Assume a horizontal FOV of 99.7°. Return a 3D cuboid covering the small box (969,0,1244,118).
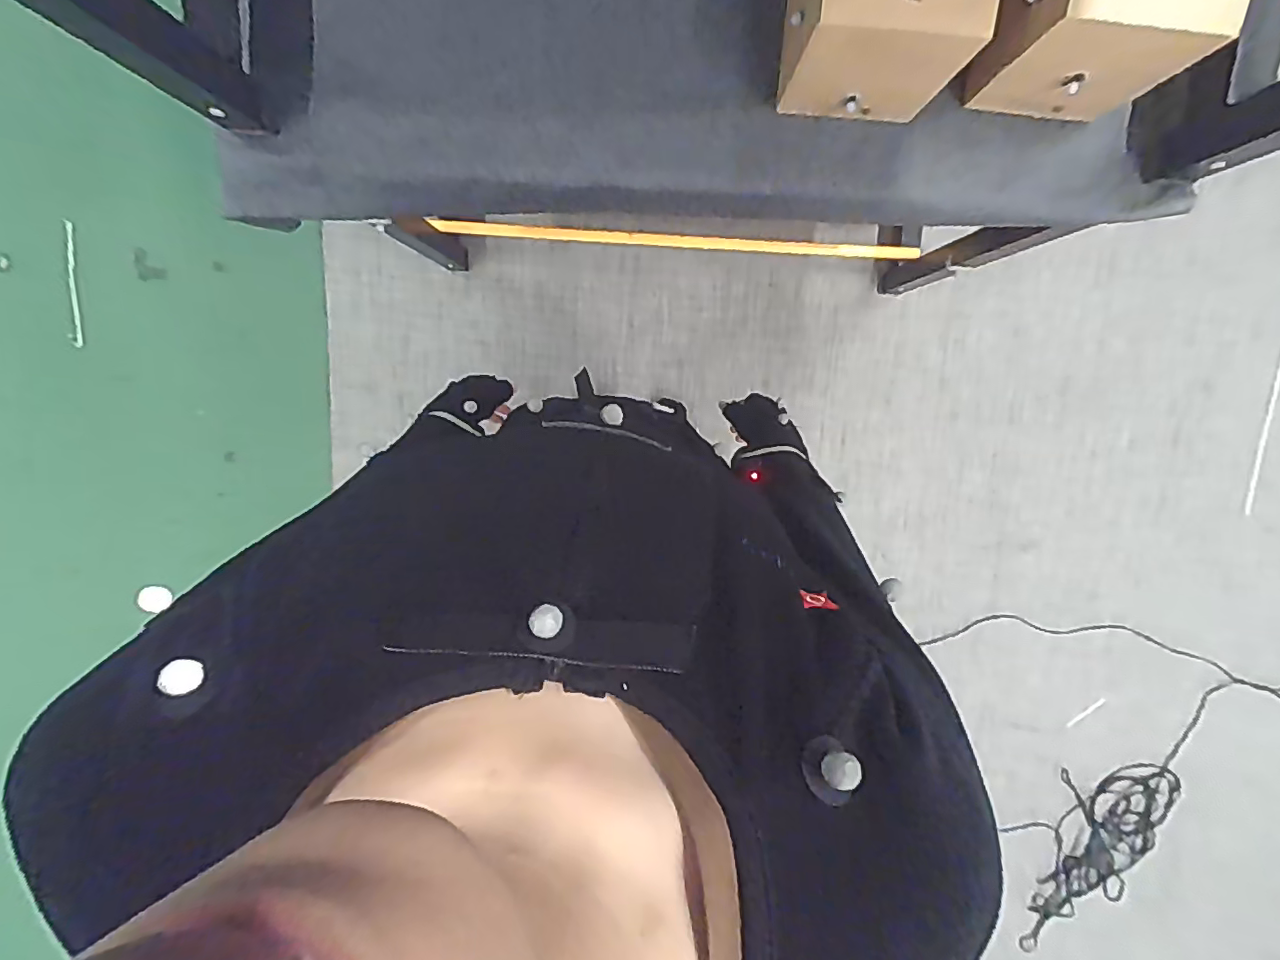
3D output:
[{"bbox_3d":[0.485,-0.519,0.570,0.168,0.176,0.179,6,99,-1],"label":"small box"}]
